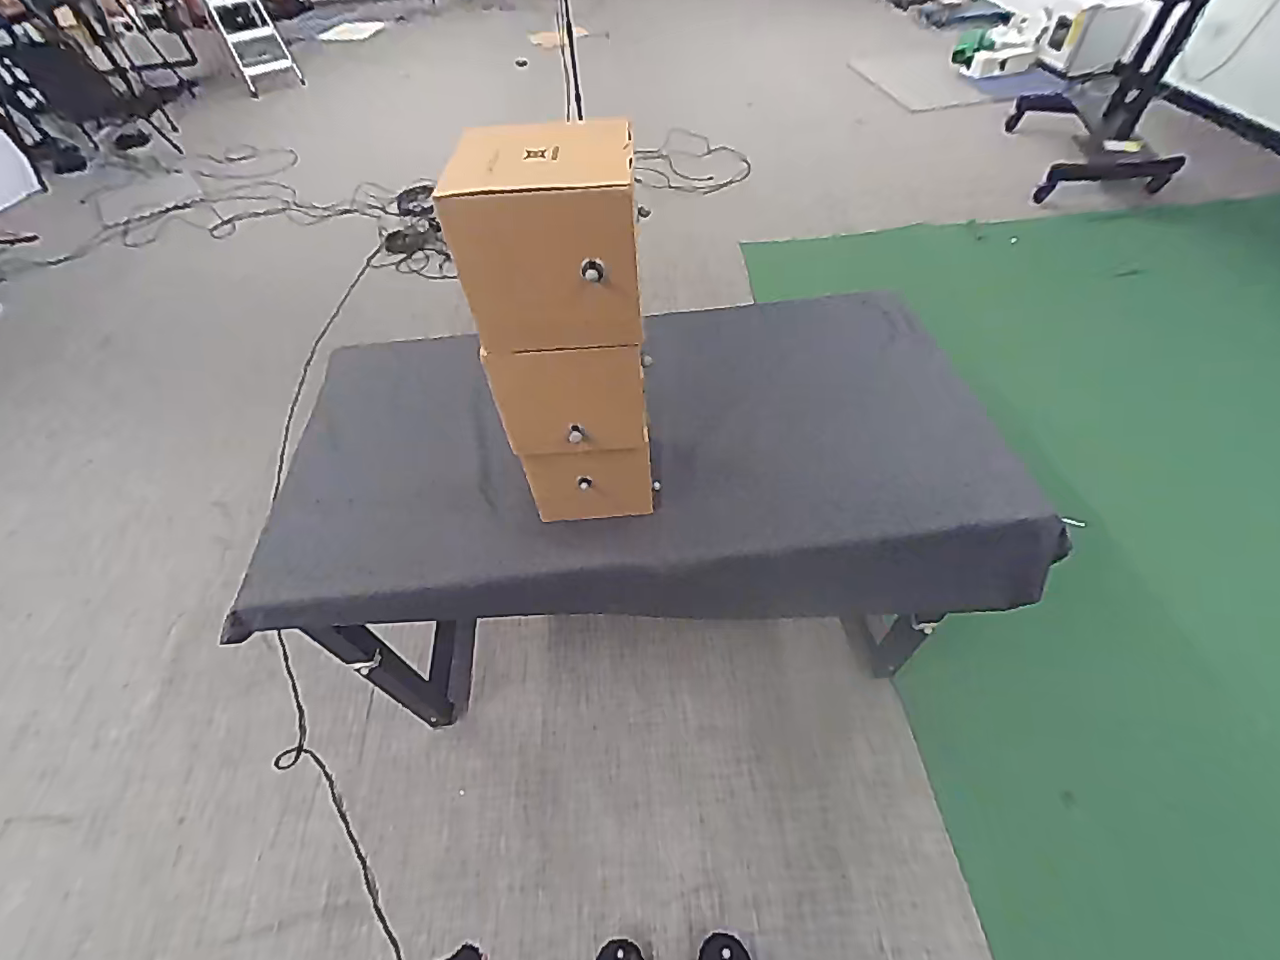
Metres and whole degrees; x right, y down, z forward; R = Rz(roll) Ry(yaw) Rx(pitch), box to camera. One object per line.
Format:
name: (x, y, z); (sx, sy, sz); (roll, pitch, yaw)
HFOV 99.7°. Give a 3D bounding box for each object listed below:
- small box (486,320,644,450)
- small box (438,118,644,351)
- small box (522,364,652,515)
small box: (-0.084, -0.155, 0.704); (0.179, 0.176, 0.168); (-4, 51, 0)
small box: (-0.086, -0.256, 0.576); (0.179, 0.176, 0.168); (-4, 50, 2)
small box: (-0.072, -0.060, 0.836); (0.179, 0.176, 0.168); (-5, 51, 1)
